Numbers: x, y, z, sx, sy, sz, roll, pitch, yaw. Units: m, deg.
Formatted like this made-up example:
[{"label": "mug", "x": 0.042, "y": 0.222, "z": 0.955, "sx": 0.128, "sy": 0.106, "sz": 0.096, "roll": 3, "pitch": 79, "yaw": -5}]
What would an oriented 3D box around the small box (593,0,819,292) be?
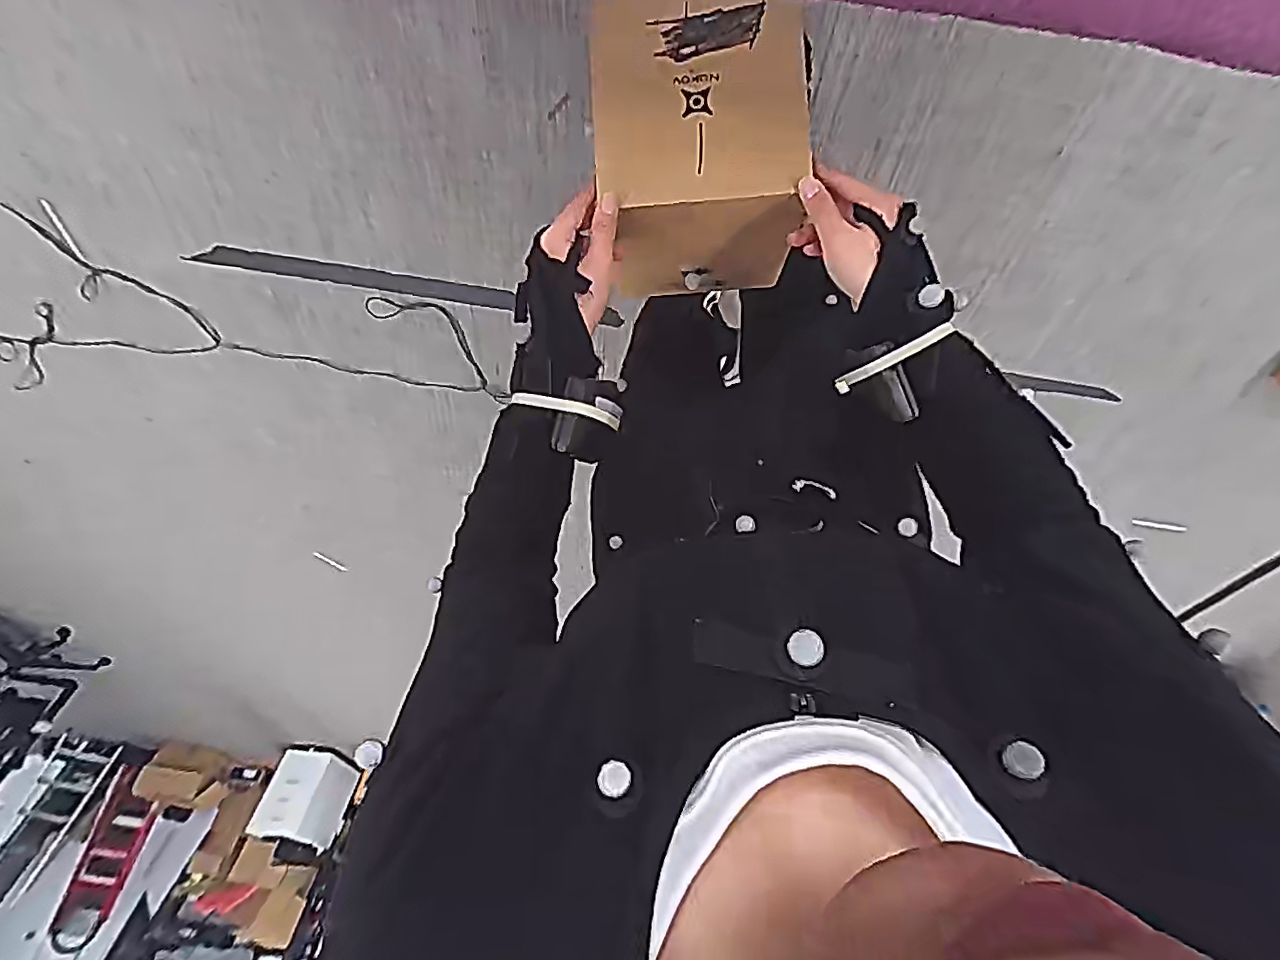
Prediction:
[{"label": "small box", "x": 0.052, "y": -0.291, "z": 0.485, "sx": 0.168, "sy": 0.179, "sz": 0.176, "roll": -3, "pitch": 176, "yaw": 4}]
